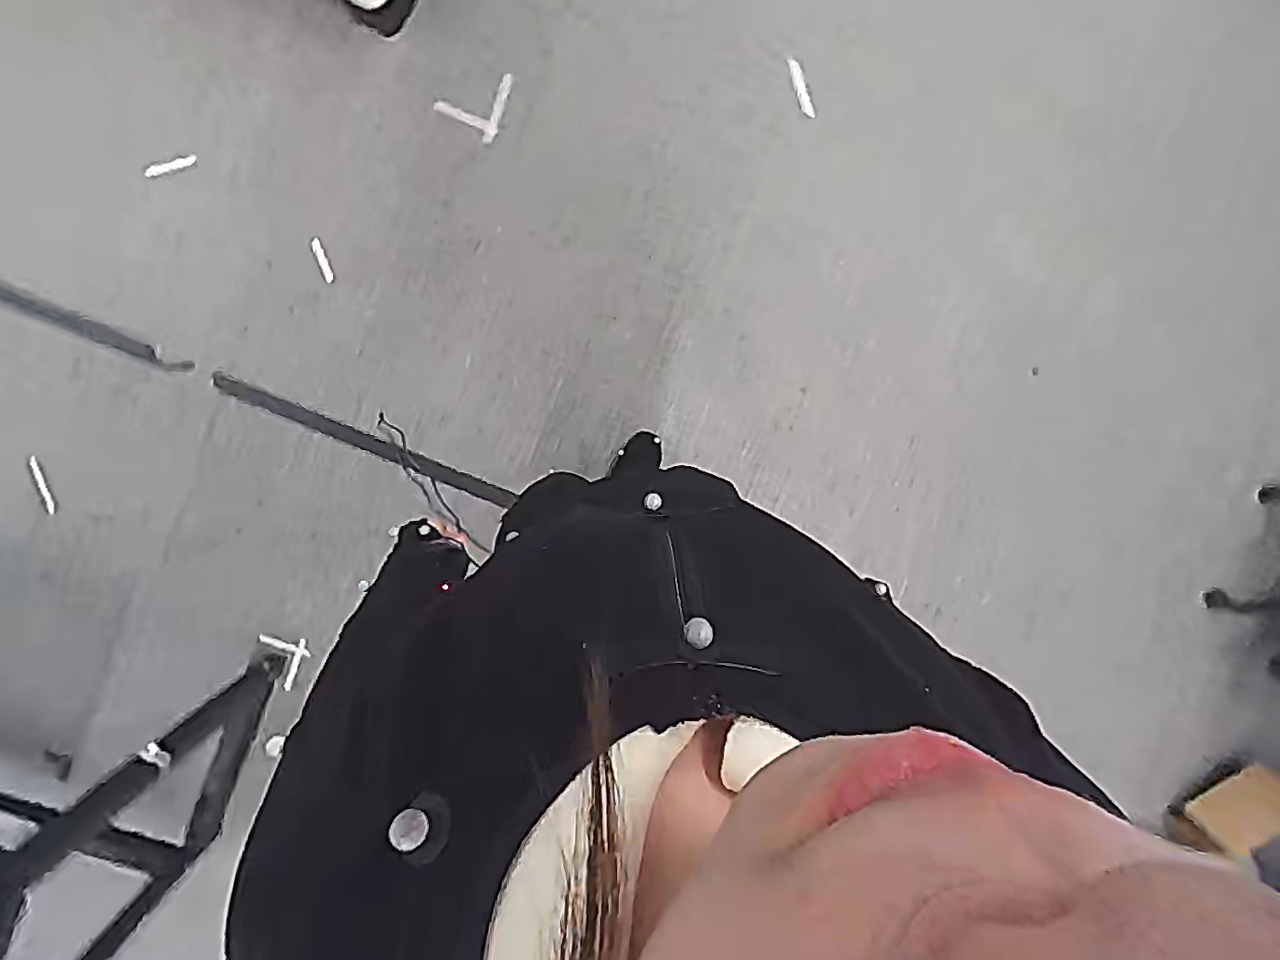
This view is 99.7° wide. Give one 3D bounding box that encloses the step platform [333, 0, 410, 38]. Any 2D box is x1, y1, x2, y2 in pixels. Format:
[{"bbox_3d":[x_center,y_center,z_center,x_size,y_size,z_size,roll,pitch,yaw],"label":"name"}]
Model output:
[{"bbox_3d":[-0.831,-1.325,1.166,0.684,0.204,0.286,29,93,-7],"label":"step platform"}]
